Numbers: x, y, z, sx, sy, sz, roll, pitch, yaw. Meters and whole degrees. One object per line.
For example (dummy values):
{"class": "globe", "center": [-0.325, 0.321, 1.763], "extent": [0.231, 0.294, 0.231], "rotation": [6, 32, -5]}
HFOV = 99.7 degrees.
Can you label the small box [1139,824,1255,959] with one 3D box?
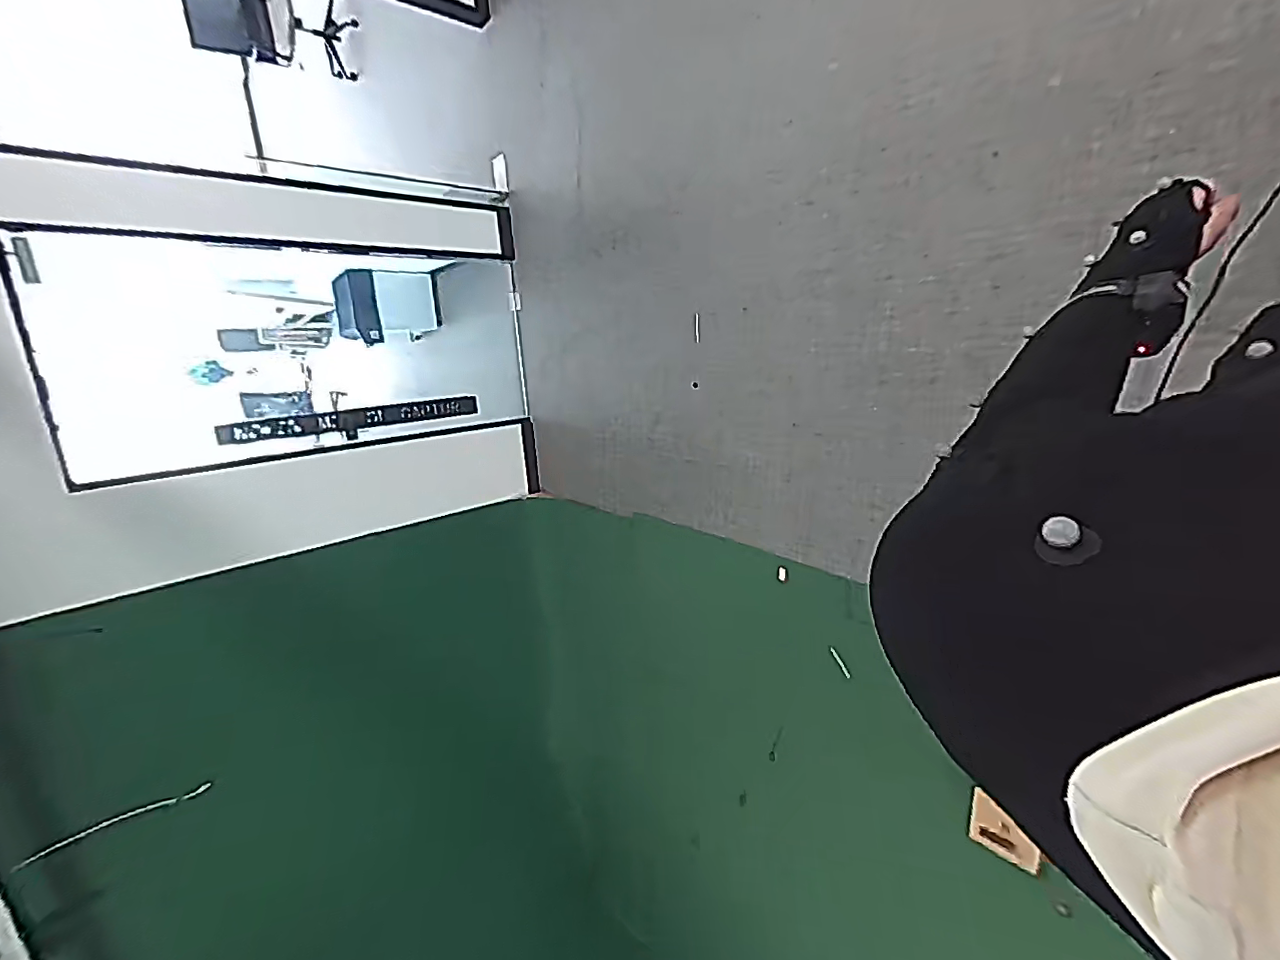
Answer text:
{"class": "small box", "center": [1.308, 0.965, 1.270], "extent": [0.168, 0.176, 0.179], "rotation": [12, 112, 49]}
